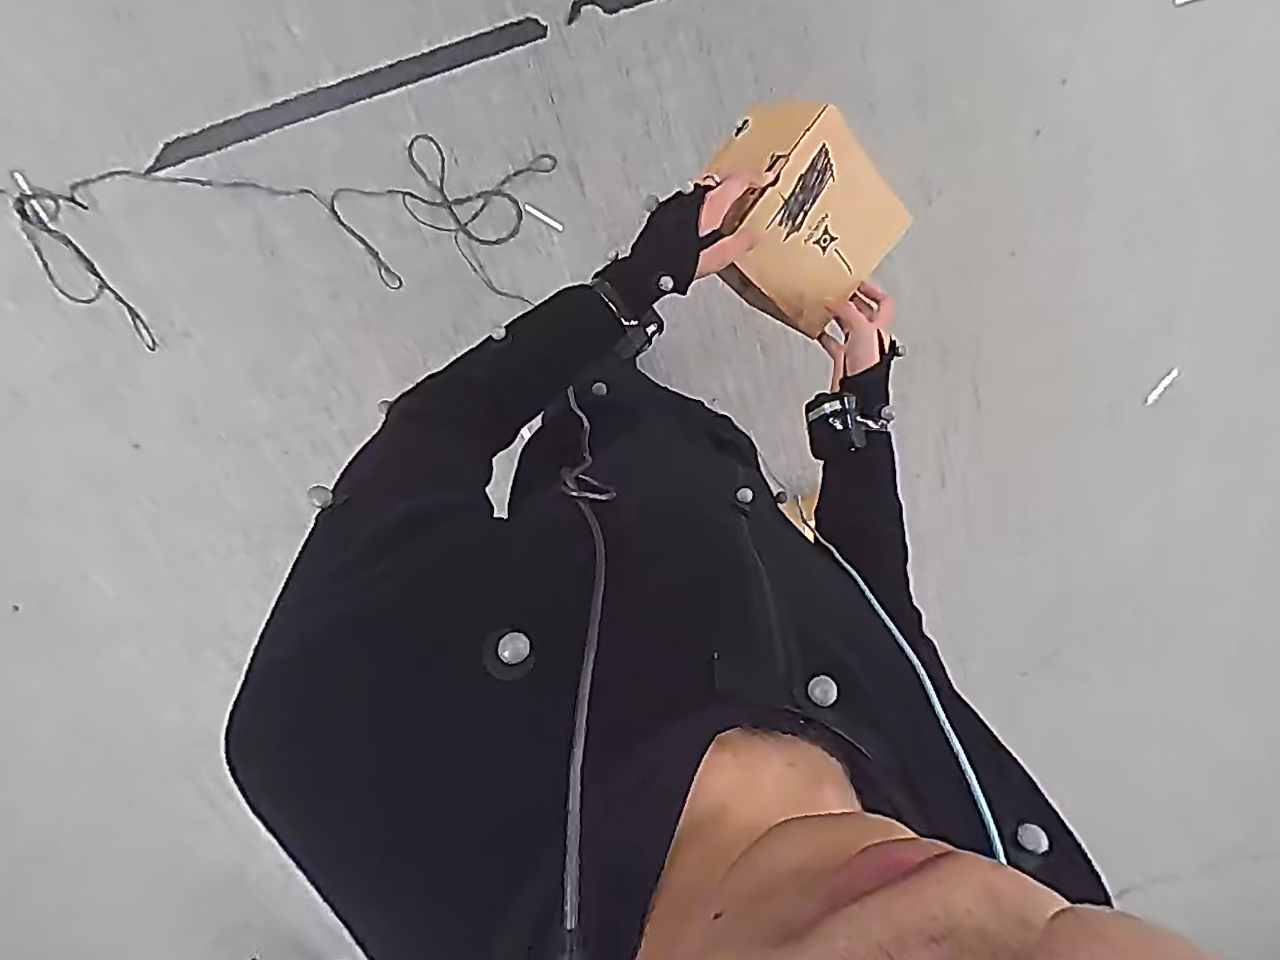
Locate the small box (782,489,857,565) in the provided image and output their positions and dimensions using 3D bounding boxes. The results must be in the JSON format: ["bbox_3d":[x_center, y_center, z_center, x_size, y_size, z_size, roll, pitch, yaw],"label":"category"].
[{"bbox_3d":[0.555,0.144,1.690,0.179,0.176,0.168,-12,110,-2],"label":"small box"}]

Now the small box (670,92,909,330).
[{"bbox_3d":[0.164,-0.312,0.638,0.179,0.176,0.168,29,109,-34],"label":"small box"}]
